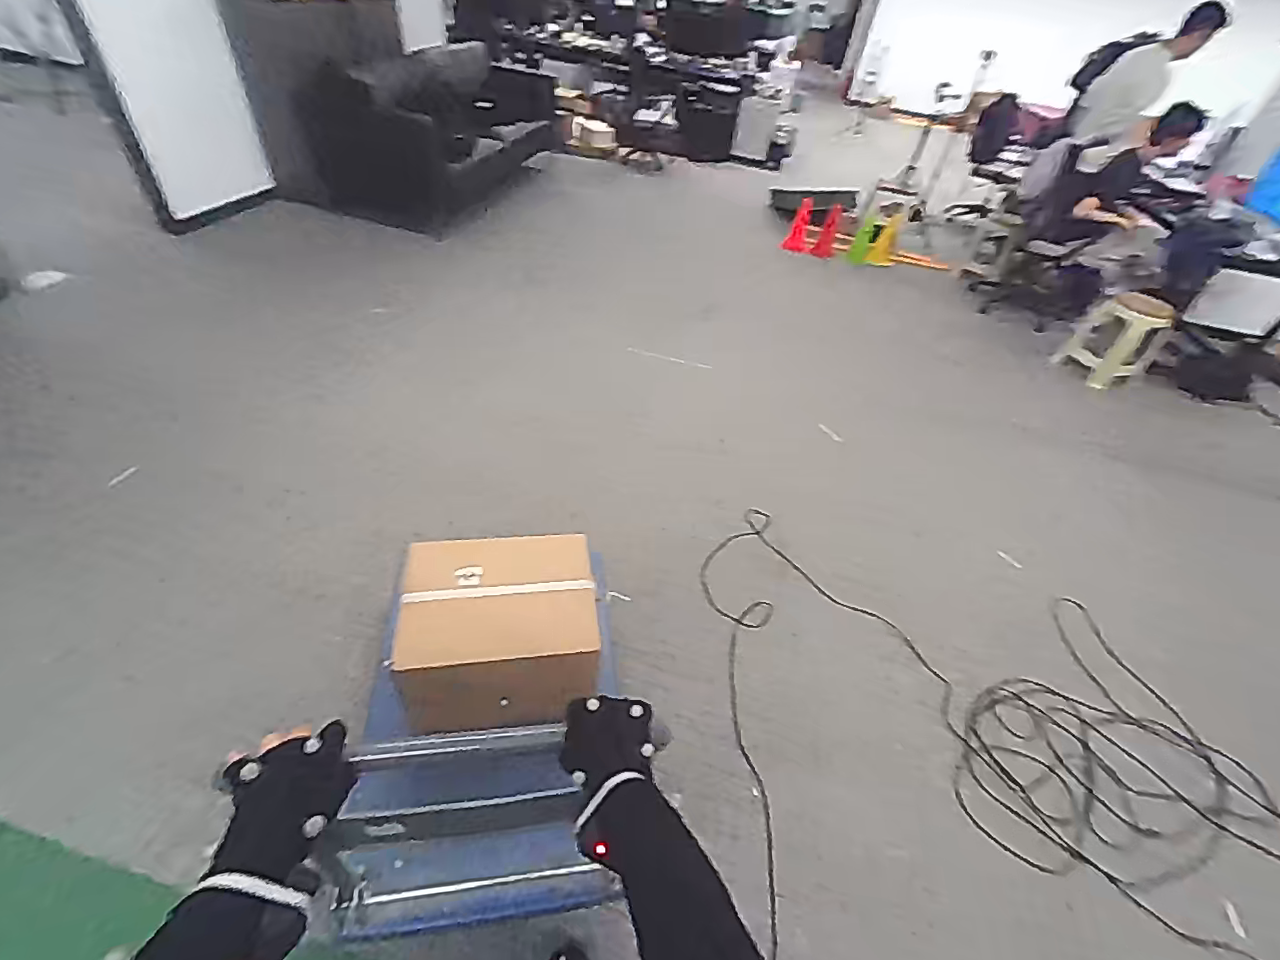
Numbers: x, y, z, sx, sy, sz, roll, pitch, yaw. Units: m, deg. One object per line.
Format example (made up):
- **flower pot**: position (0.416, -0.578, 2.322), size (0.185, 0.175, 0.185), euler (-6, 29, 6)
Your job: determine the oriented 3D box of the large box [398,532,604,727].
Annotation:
- **large box**: position (-0.310, 0.349, 1.275), size (0.408, 0.320, 0.320), euler (-3, 44, -12)
